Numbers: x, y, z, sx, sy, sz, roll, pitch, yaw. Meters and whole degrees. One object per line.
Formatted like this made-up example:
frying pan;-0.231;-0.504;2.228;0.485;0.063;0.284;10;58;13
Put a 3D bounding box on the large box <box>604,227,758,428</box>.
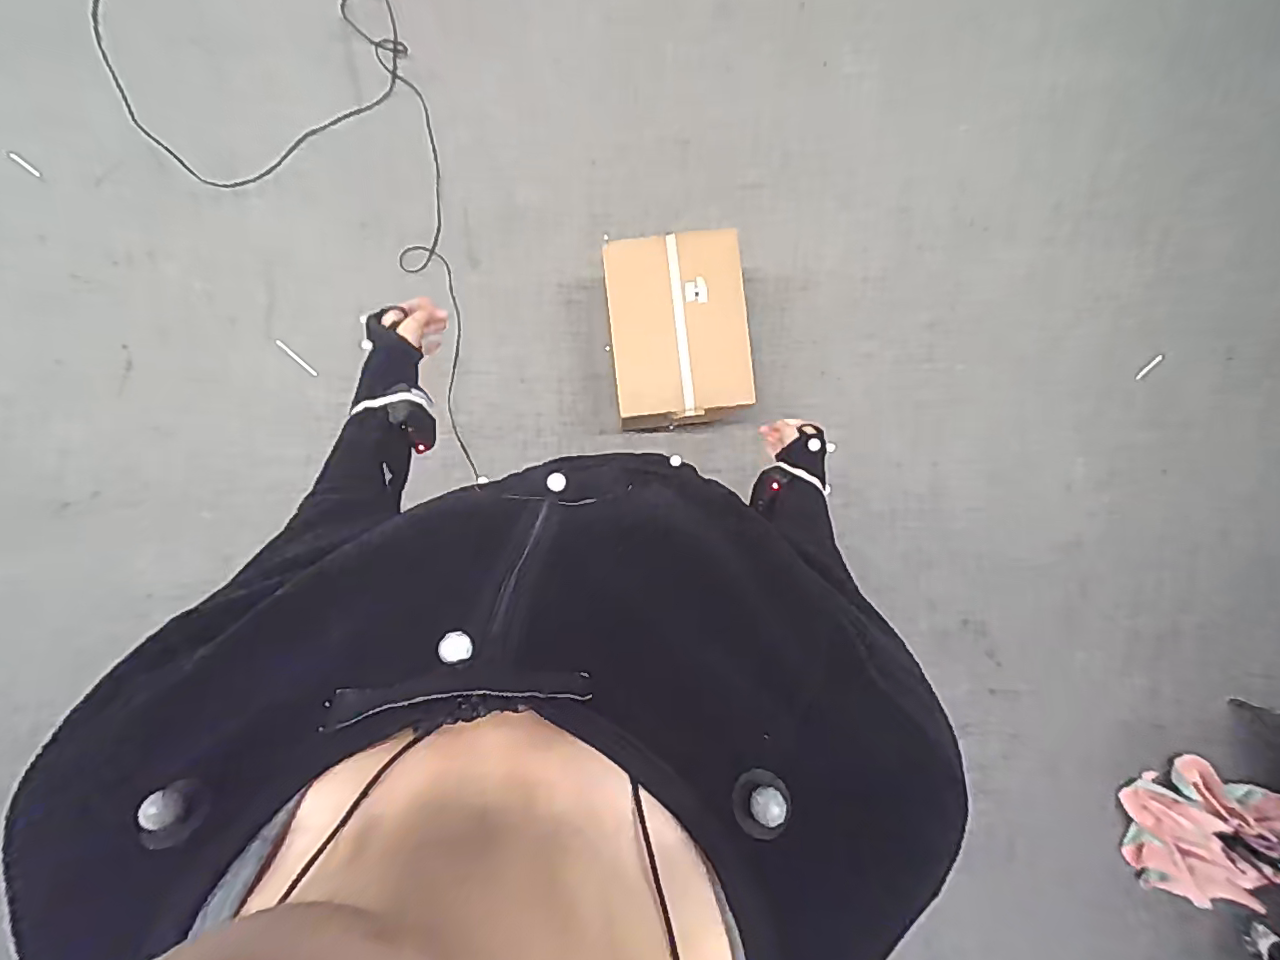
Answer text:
large box;0.091;-0.361;1.373;0.320;0.320;0.408;-6;89;-2
